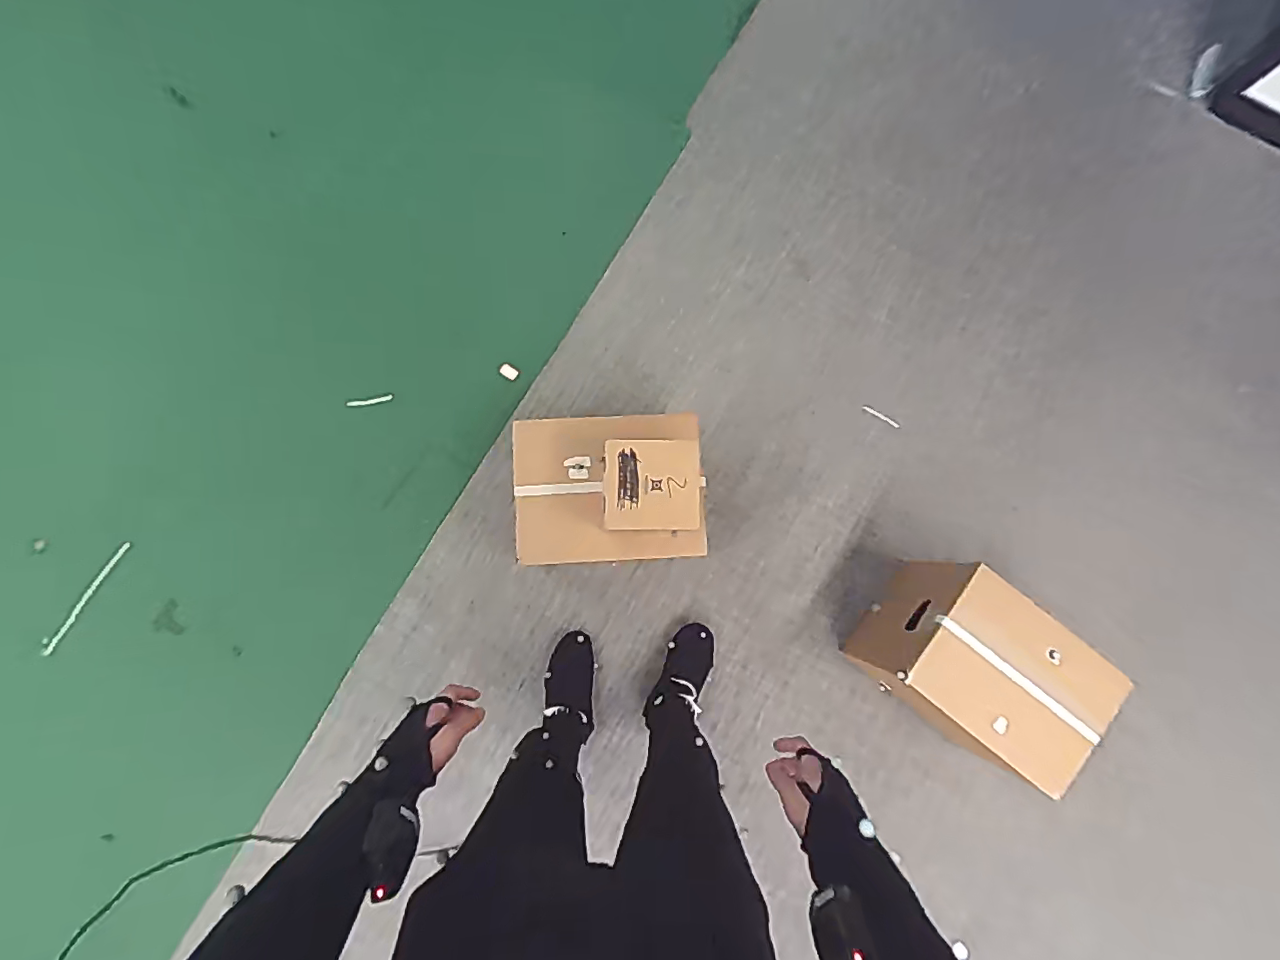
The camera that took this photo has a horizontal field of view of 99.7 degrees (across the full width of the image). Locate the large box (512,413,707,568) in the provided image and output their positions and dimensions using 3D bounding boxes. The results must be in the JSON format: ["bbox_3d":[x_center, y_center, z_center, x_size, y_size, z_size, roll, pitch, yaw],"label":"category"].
[{"bbox_3d":[-0.071,0.038,1.296,0.408,0.320,0.320,-3,82,-2],"label":"large box"}]
